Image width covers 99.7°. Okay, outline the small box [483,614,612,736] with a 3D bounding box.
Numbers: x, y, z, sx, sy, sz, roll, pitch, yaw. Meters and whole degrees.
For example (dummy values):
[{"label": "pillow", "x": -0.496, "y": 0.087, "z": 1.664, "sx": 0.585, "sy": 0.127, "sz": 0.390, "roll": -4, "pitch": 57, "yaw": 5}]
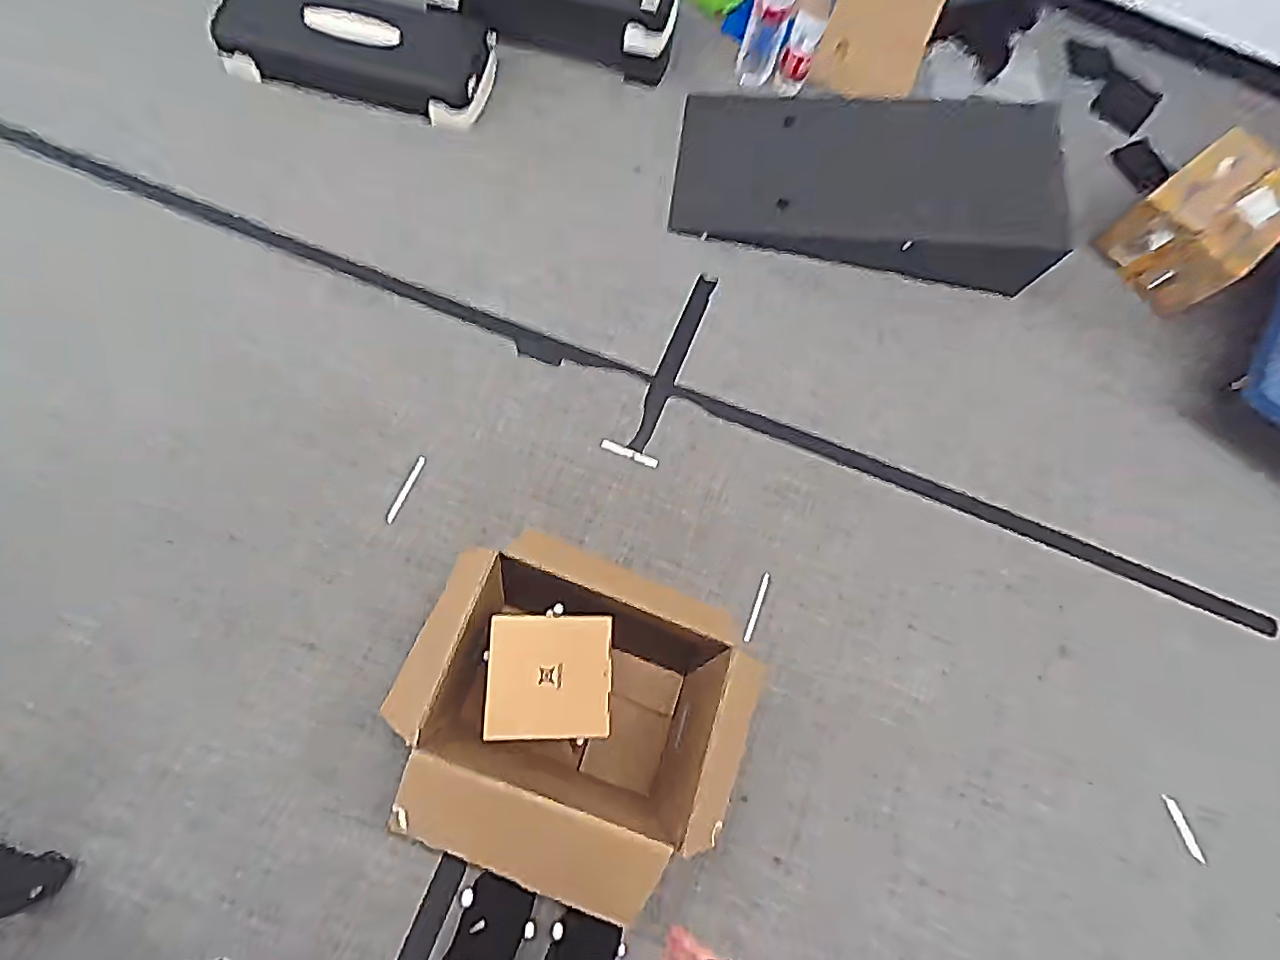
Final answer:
[{"label": "small box", "x": -0.142, "y": 0.299, "z": 0.850, "sx": 0.179, "sy": 0.176, "sz": 0.168, "roll": 3, "pitch": 75, "yaw": -10}]
